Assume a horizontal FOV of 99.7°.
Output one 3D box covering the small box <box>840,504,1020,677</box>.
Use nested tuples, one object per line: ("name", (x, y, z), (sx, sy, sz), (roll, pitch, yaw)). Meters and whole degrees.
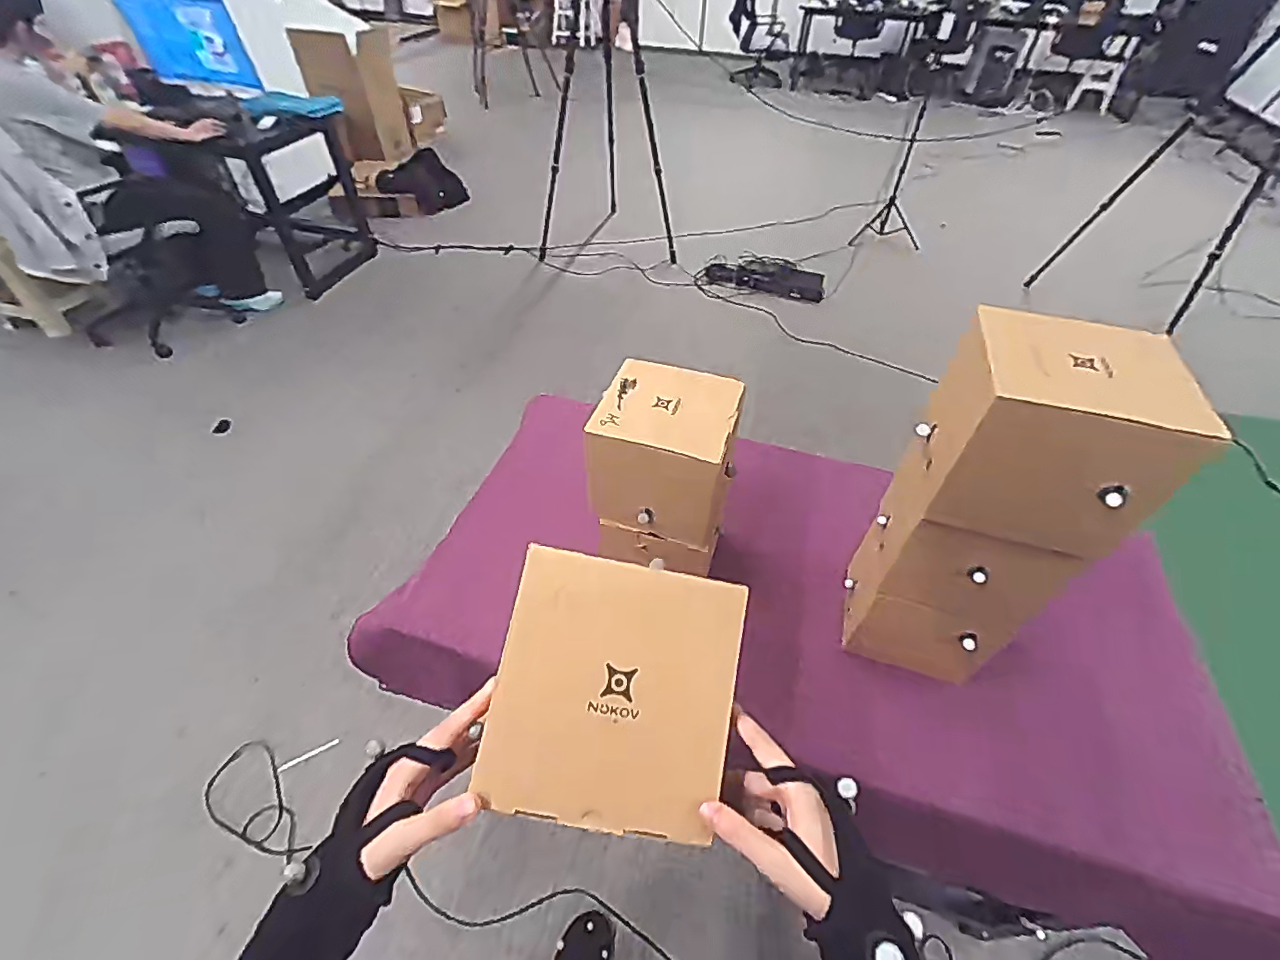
("small box", (0.416, 0.167, 0.800), (0.179, 0.176, 0.168), (14, 48, 12))

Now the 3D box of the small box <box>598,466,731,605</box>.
("small box", (0.041, 0.076, 0.876), (0.168, 0.176, 0.179), (14, 48, 11))

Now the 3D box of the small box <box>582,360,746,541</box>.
("small box", (0.033, -0.037, 0.757), (0.179, 0.176, 0.168), (15, 48, 11))

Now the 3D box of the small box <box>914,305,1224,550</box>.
("small box", (0.405, -0.051, 0.554), (0.179, 0.176, 0.168), (14, 48, 12))
